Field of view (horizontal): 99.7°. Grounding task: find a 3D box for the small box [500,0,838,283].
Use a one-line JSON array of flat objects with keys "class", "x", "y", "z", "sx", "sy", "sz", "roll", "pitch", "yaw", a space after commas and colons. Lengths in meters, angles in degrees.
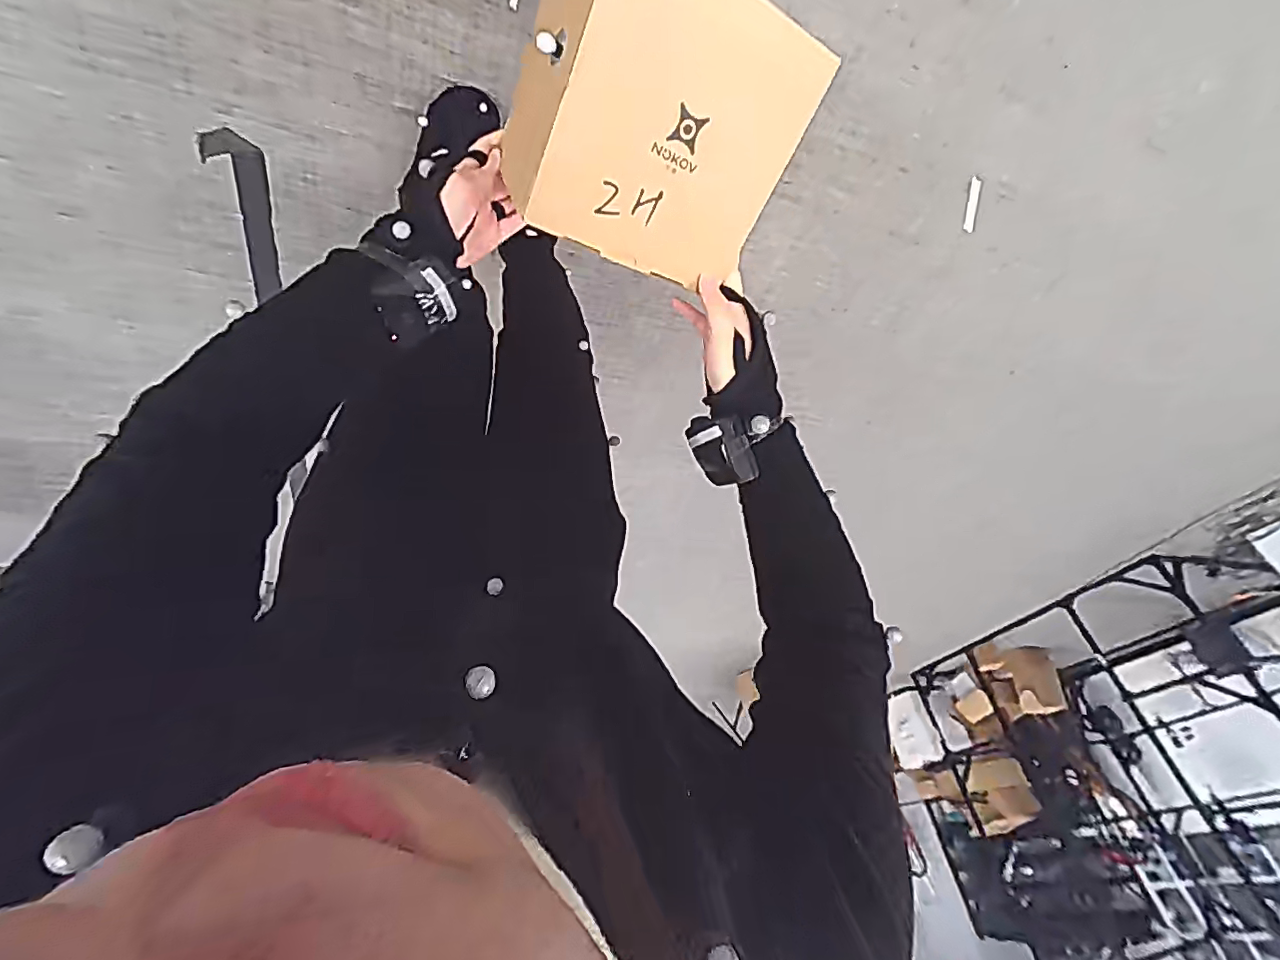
[{"class": "small box", "x": 0.001, "y": -0.287, "z": 0.409, "sx": 0.168, "sy": 0.176, "sz": 0.179, "roll": 11, "pitch": 127, "yaw": -29}]
